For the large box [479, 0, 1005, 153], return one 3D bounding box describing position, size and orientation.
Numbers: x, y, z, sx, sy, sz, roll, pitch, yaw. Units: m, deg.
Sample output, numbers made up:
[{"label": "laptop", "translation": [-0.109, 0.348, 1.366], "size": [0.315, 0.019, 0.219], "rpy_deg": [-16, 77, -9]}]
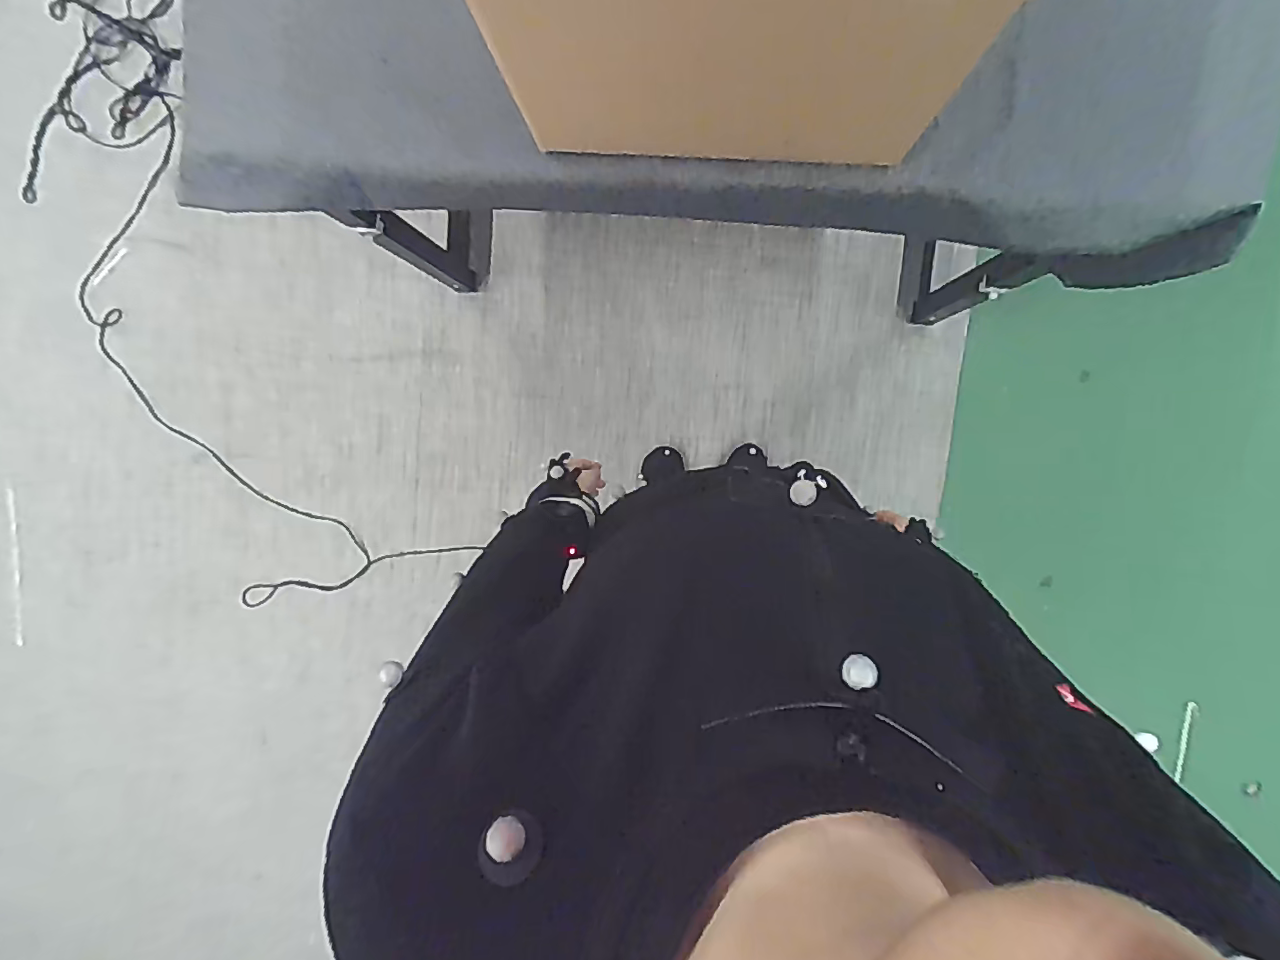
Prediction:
[{"label": "large box", "translation": [0.081, -0.508, 0.446], "size": [0.408, 0.320, 0.320], "rpy_deg": [4, 94, 4]}]
